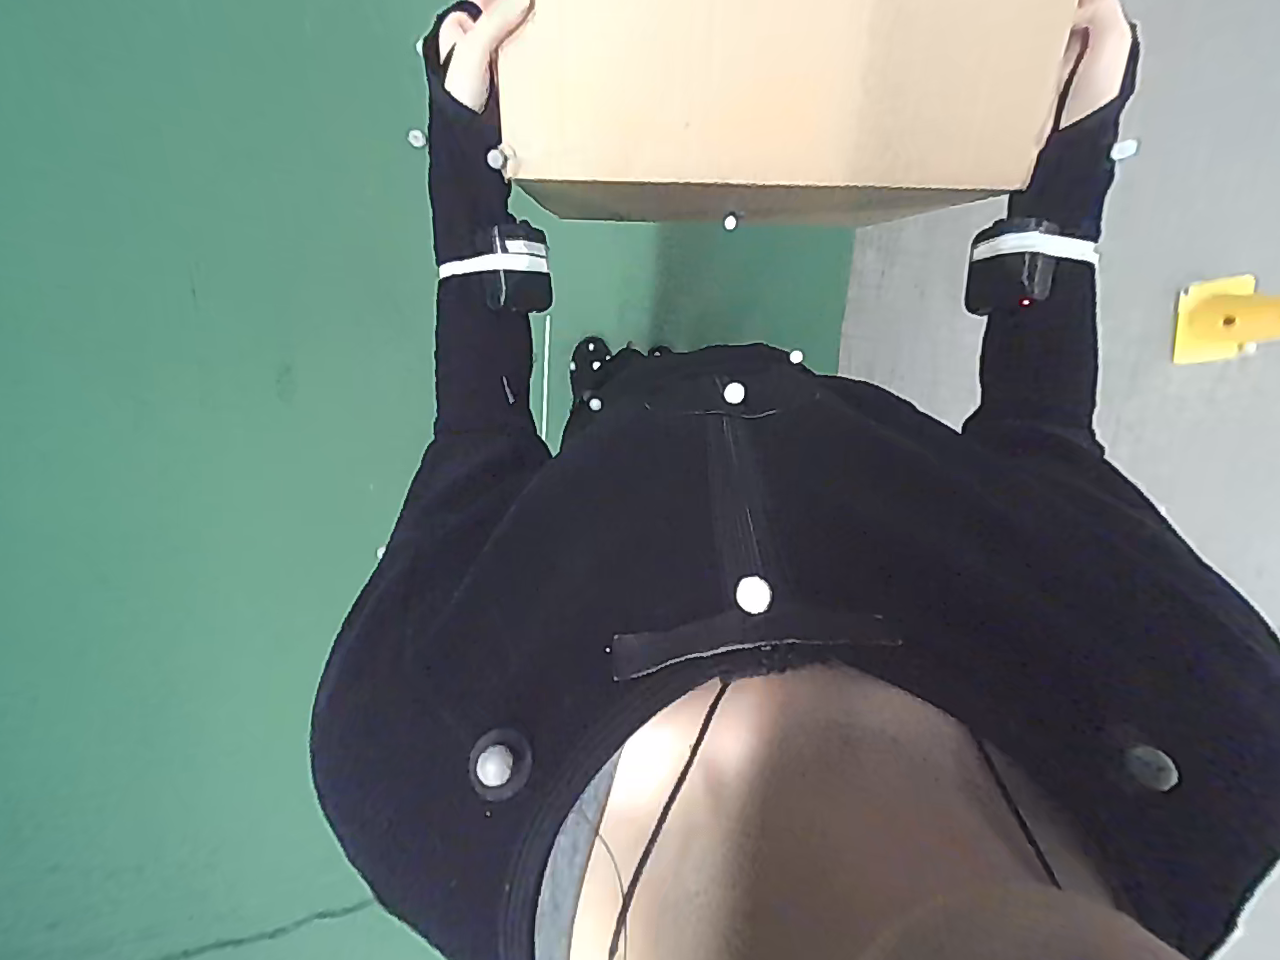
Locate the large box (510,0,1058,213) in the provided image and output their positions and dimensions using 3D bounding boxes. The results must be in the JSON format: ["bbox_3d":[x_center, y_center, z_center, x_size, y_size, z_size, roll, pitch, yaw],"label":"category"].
[{"bbox_3d":[0.107,-0.438,0.513,0.408,0.320,0.320,2,110,-1],"label":"large box"}]
